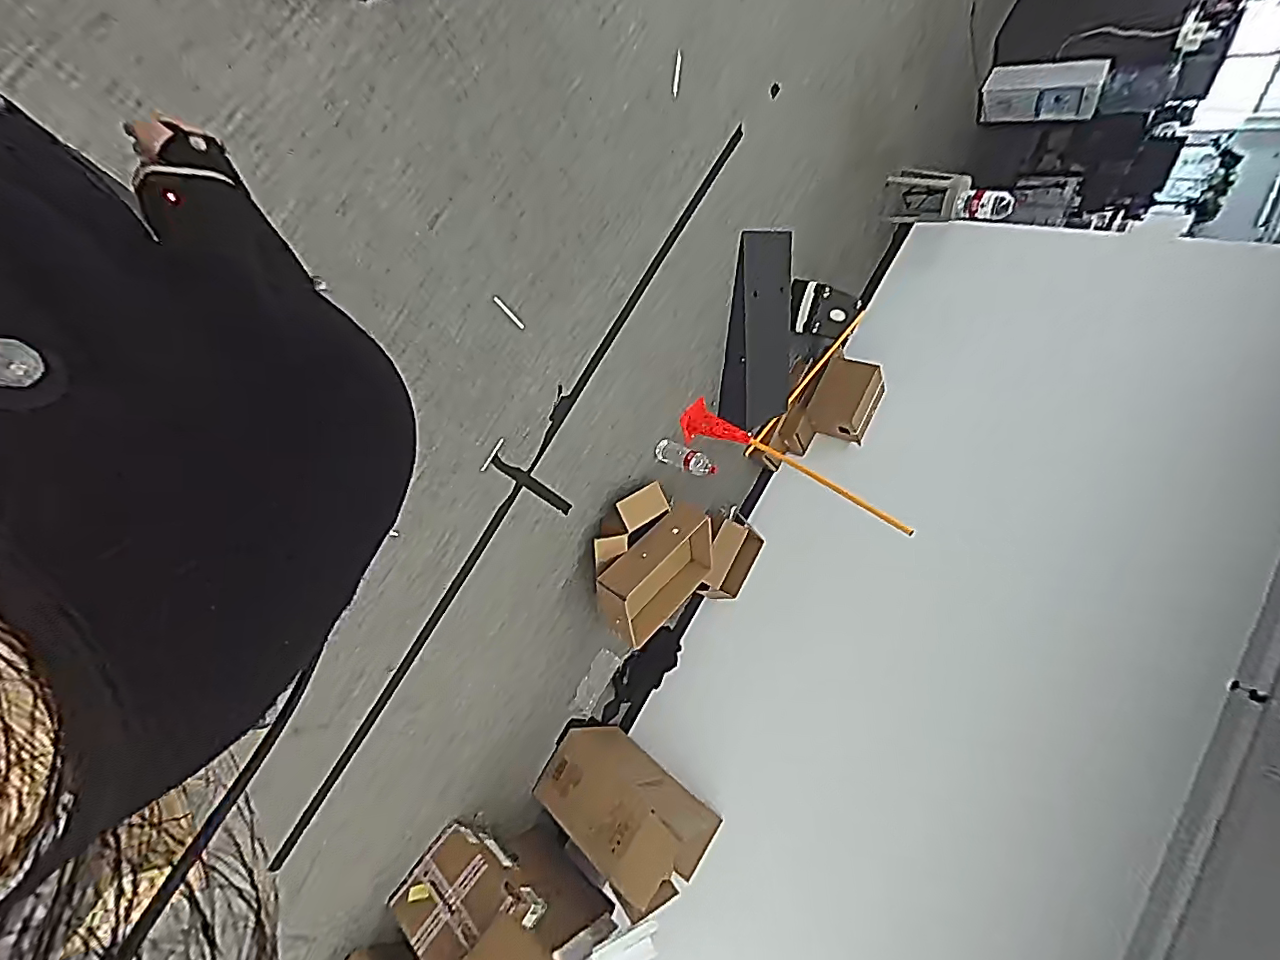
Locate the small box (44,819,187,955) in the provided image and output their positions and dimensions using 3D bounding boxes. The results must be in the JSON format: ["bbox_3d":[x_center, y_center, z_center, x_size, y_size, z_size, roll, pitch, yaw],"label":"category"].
[{"bbox_3d":[-1.205,0.921,1.242,0.179,0.176,0.168,-57,146,-12],"label":"small box"}]
